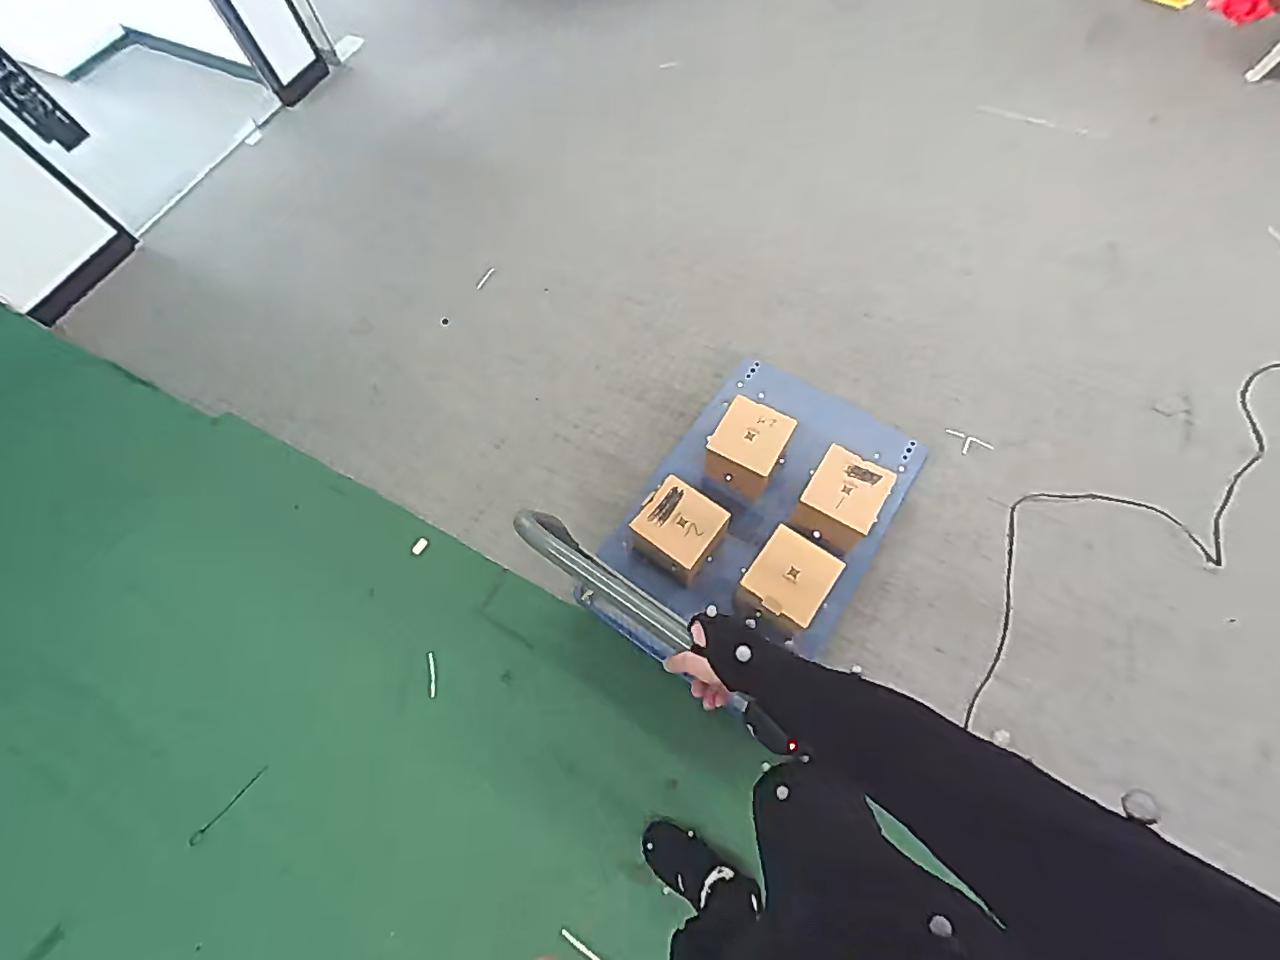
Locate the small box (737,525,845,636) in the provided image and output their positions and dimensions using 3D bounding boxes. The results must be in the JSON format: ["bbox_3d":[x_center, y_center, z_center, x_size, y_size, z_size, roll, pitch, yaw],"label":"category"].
[{"bbox_3d":[0.338,0.237,1.248,0.168,0.176,0.179,34,75,17],"label":"small box"}]

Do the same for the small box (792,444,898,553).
[{"bbox_3d":[0.488,0.050,1.314,0.168,0.176,0.179,30,73,16],"label":"small box"}]

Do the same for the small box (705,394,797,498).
[{"bbox_3d":[0.279,-0.080,1.385,0.168,0.176,0.179,29,72,14],"label":"small box"}]
